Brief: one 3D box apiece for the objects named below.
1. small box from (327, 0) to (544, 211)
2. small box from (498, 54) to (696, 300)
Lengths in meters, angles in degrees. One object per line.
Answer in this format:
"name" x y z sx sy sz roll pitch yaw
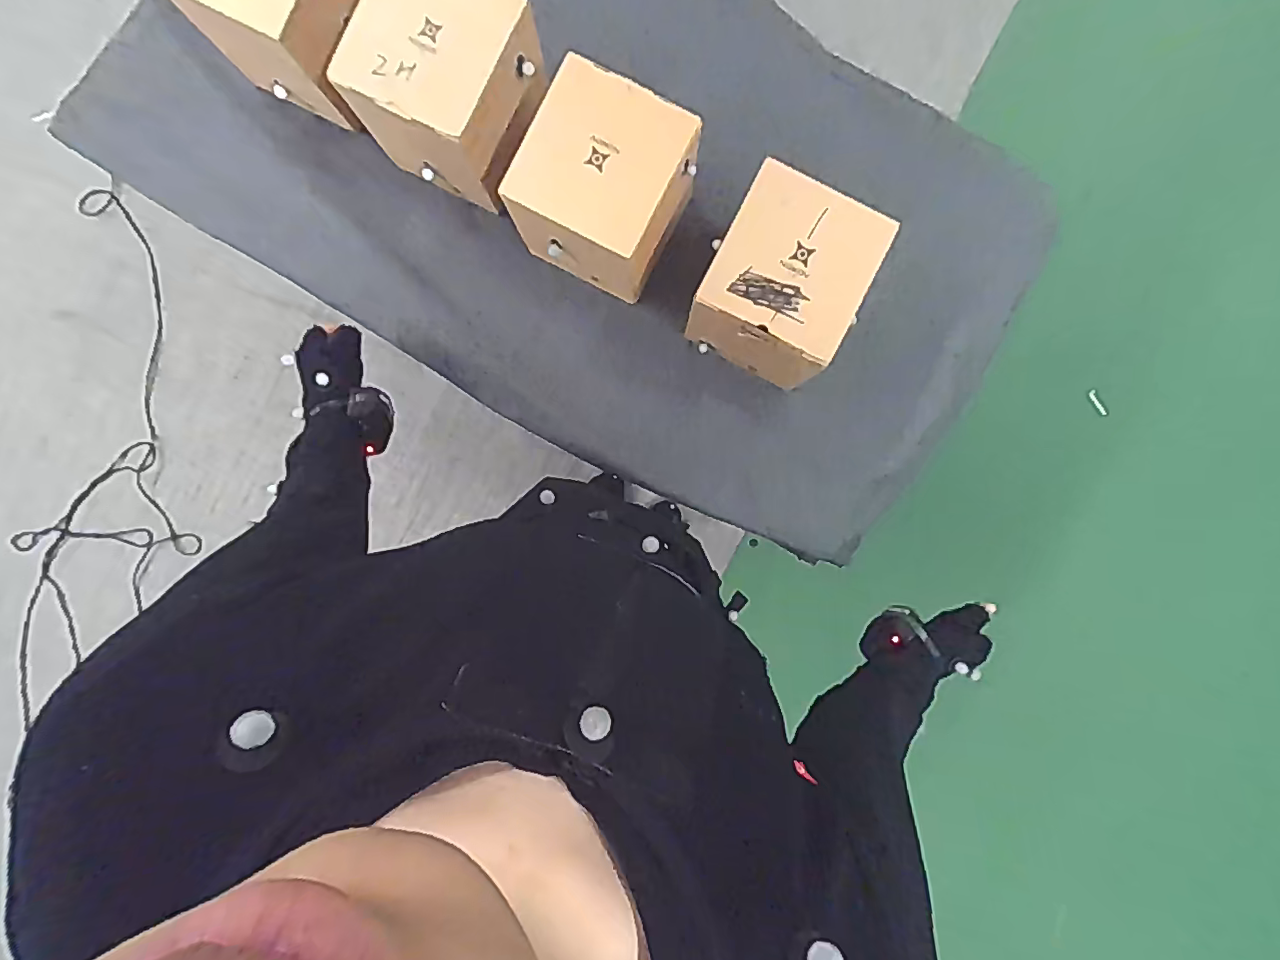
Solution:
"small box" -0.232 -0.479 0.666 0.168 0.176 0.179 26 90 0
"small box" -0.046 -0.353 0.669 0.168 0.176 0.179 27 90 0
